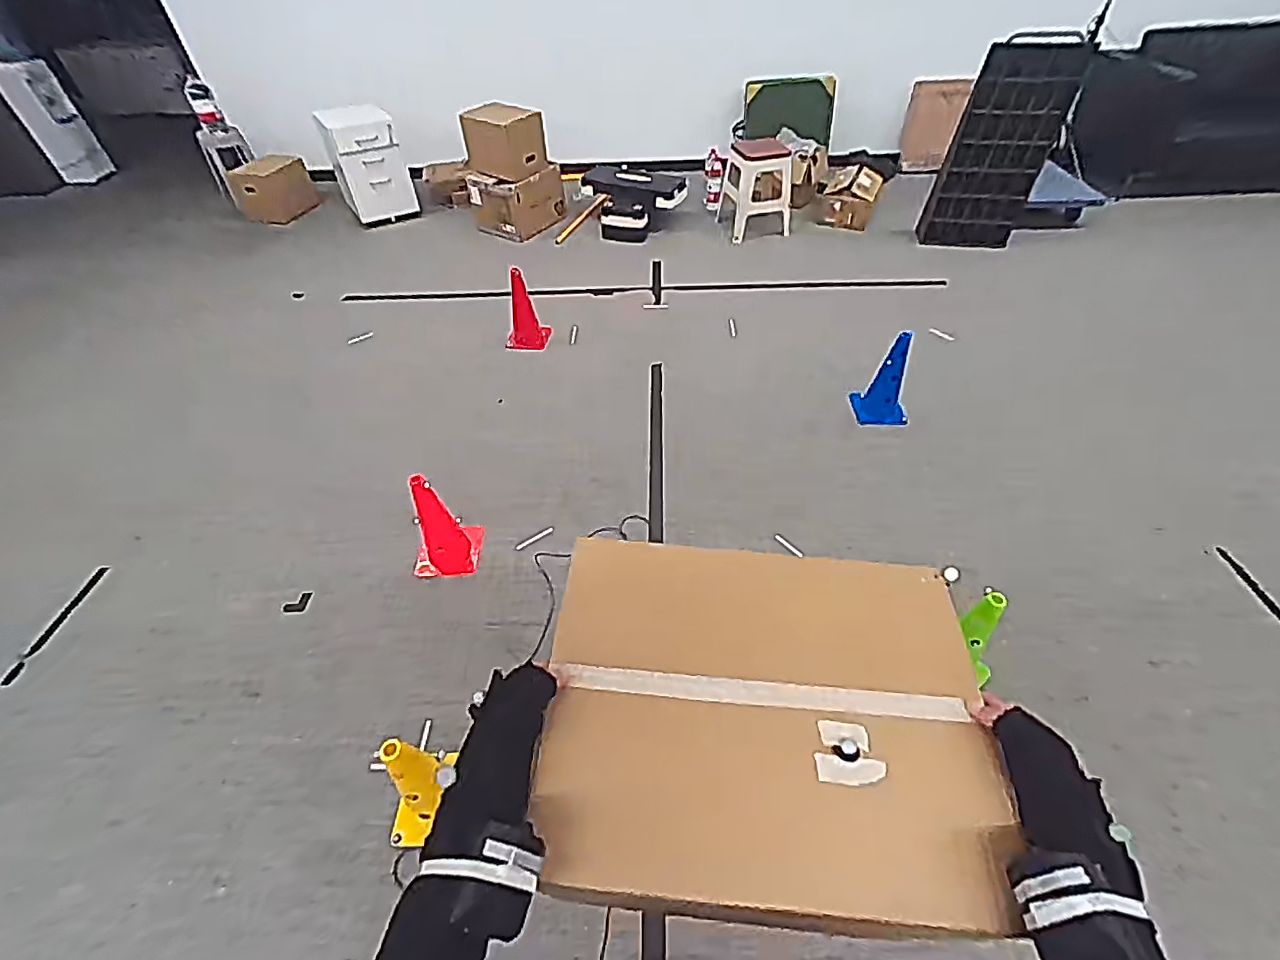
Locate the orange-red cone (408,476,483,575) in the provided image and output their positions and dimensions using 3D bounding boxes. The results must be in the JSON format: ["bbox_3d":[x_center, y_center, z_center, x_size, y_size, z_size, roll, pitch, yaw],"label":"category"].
[{"bbox_3d":[-0.644,0.120,1.693,0.198,0.360,0.199,-3,48,0],"label":"orange-red cone"}]

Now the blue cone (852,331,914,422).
[{"bbox_3d":[0.999,-0.421,2.154,0.192,0.380,0.193,2,47,3],"label":"blue cone"}]

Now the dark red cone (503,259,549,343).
[{"bbox_3d":[-0.565,-0.847,2.559,0.201,0.394,0.202,4,47,5],"label":"dark red cone"}]

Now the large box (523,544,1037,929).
[{"bbox_3d":[0.109,0.297,0.620,0.408,0.320,0.320,5,50,2],"label":"large box"}]
